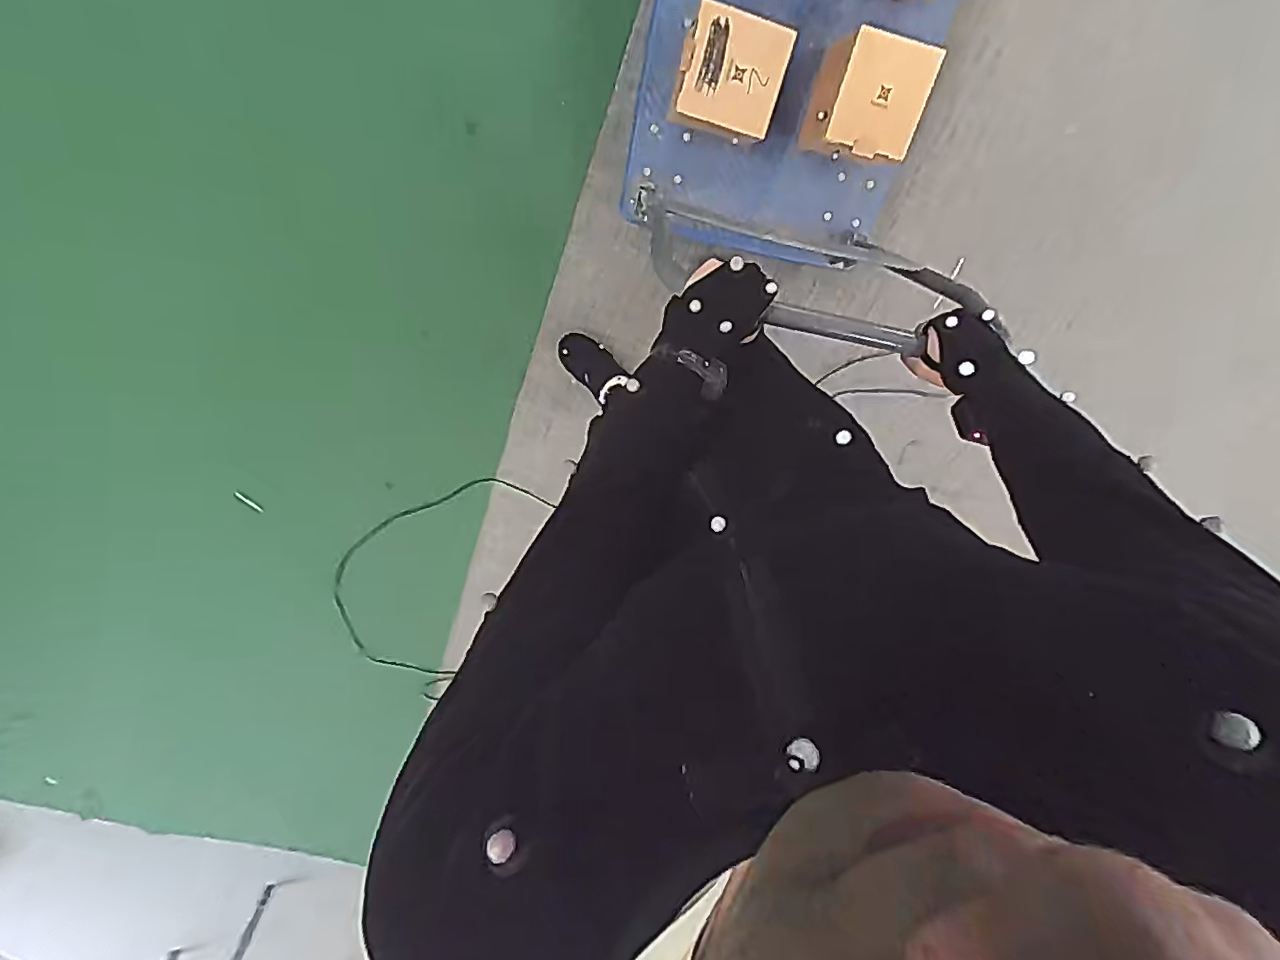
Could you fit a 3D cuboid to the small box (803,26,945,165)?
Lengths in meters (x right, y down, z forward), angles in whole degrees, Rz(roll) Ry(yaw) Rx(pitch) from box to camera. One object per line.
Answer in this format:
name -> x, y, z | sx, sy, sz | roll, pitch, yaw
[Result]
small box -> 0.439, -0.732, 1.050 | 0.168, 0.176, 0.179 | 10, 119, -8
